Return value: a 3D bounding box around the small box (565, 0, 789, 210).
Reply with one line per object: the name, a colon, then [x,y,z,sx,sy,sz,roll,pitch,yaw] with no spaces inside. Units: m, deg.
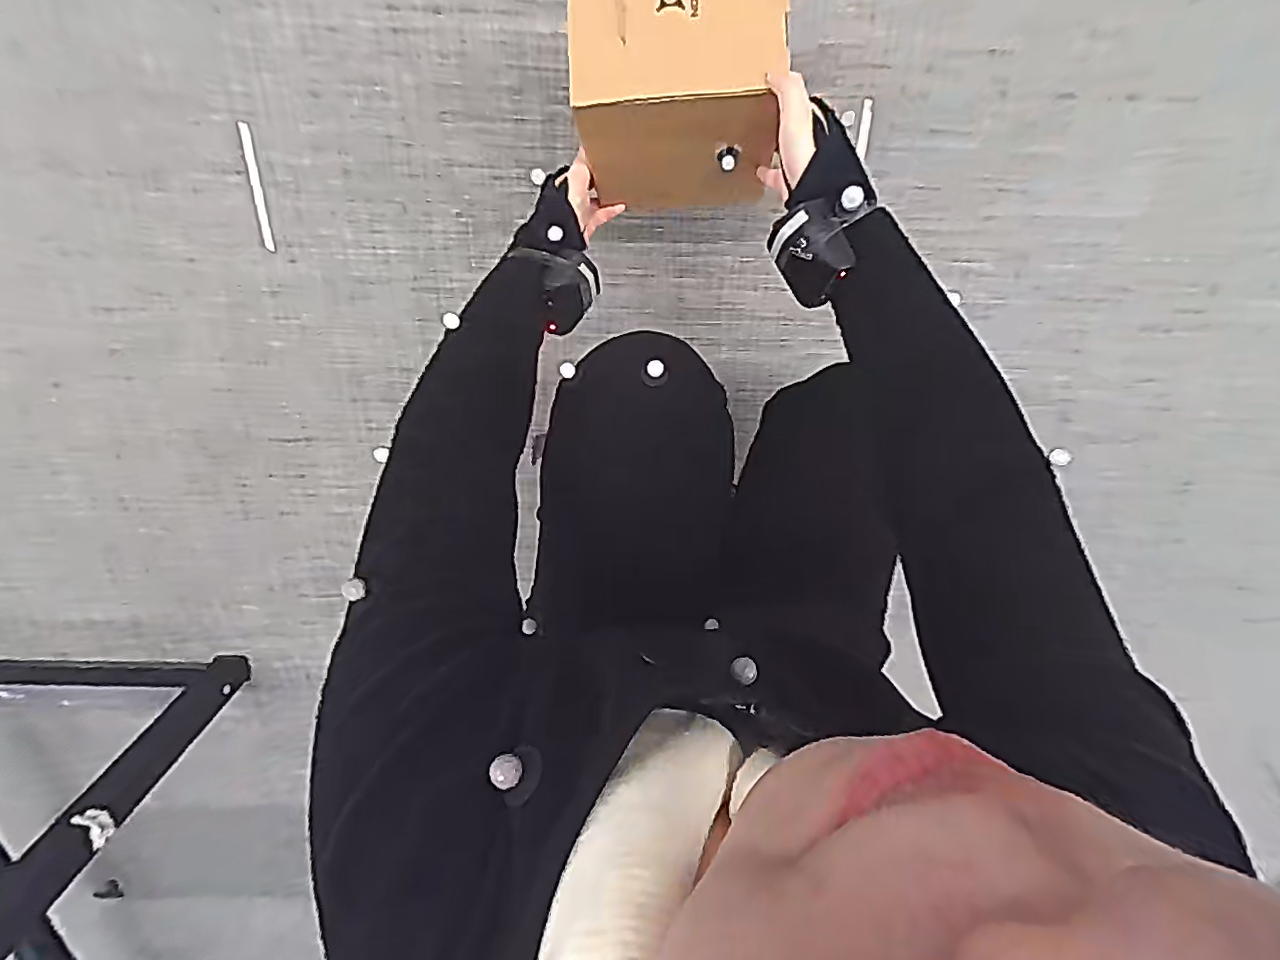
small box: [0.033,-0.375,0.501,0.179,0.176,0.168,-1,88,5]
